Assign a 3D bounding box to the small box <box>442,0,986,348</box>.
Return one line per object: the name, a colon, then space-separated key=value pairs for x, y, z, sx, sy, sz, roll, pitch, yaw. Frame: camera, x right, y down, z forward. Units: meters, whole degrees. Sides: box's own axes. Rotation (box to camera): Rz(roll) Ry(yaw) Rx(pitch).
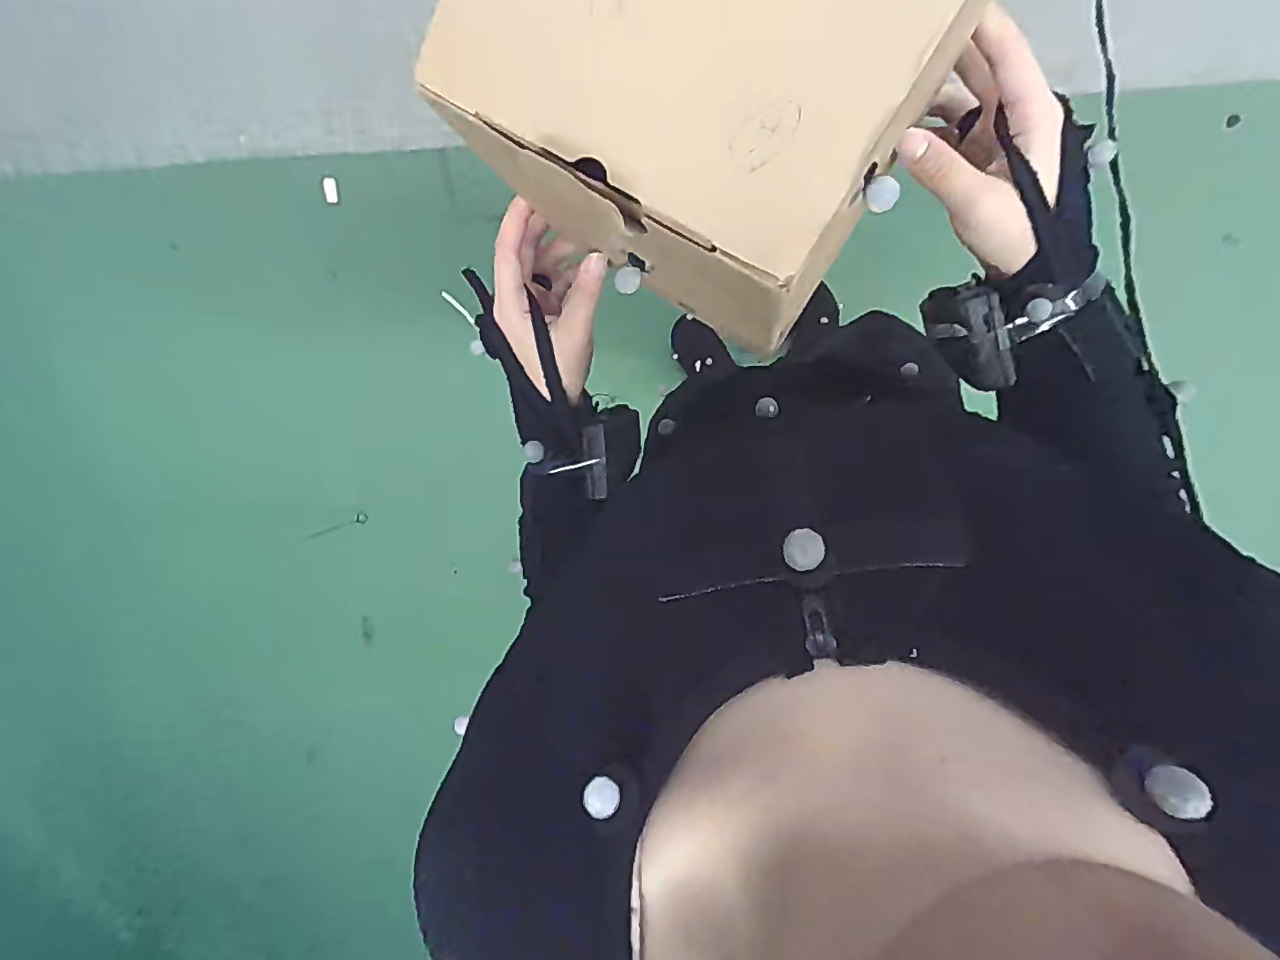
small box: x=0.045 y=-0.185 z=0.270 sx=0.168 sy=0.176 sz=0.179 roll=32 pitch=101 yaw=7
